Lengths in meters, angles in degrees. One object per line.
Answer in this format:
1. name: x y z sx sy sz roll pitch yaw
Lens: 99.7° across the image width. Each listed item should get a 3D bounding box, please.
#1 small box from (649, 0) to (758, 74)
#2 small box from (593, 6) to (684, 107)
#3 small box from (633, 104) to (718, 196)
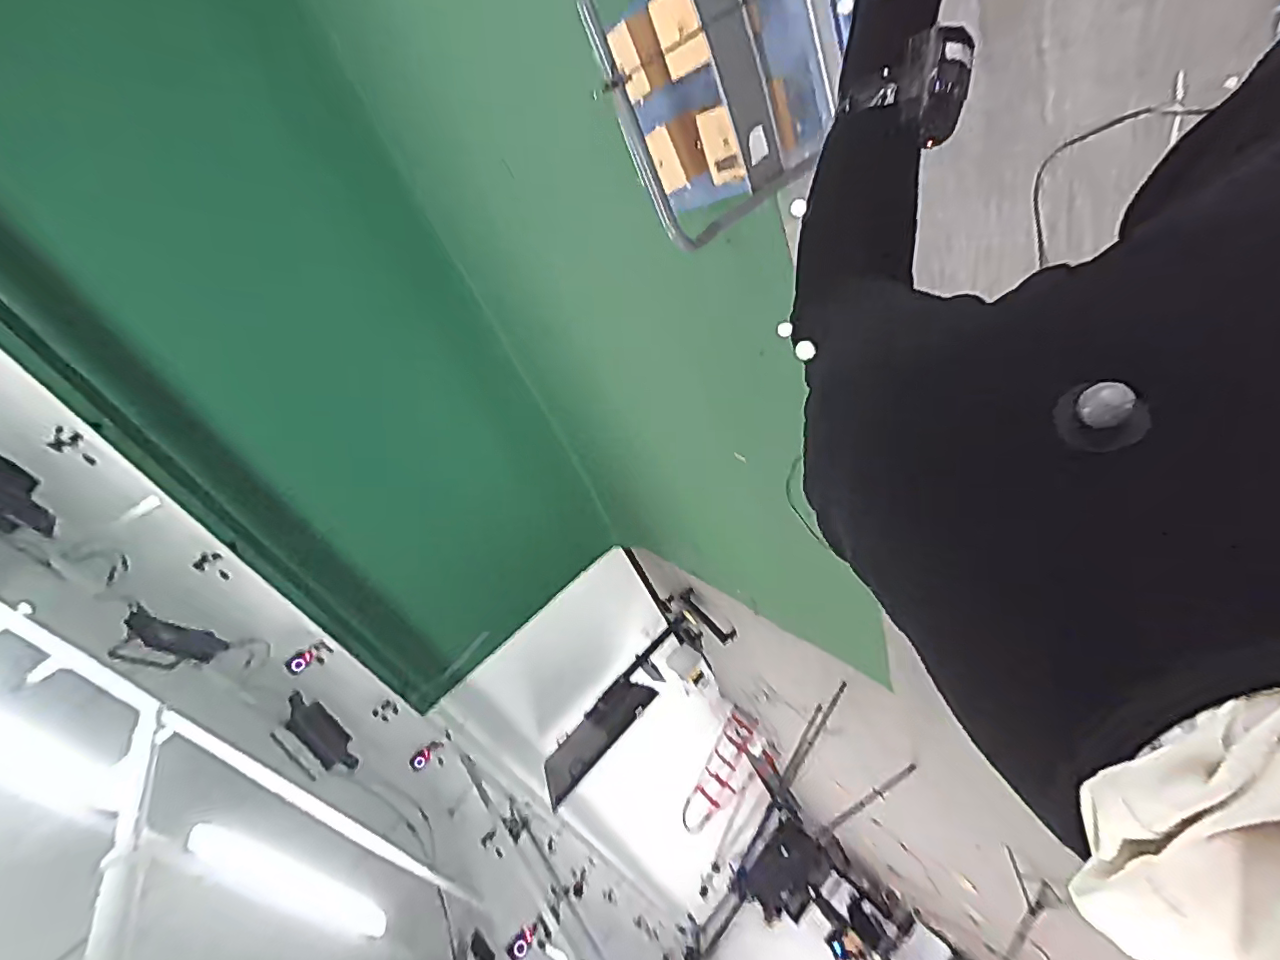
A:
1. small box: 0.160 -1.156 1.342 0.179 0.176 0.168 19 144 51
2. small box: 0.004 -1.214 1.547 0.179 0.176 0.168 16 142 54
3. small box: 0.118 -1.015 1.664 0.179 0.176 0.168 15 140 56
